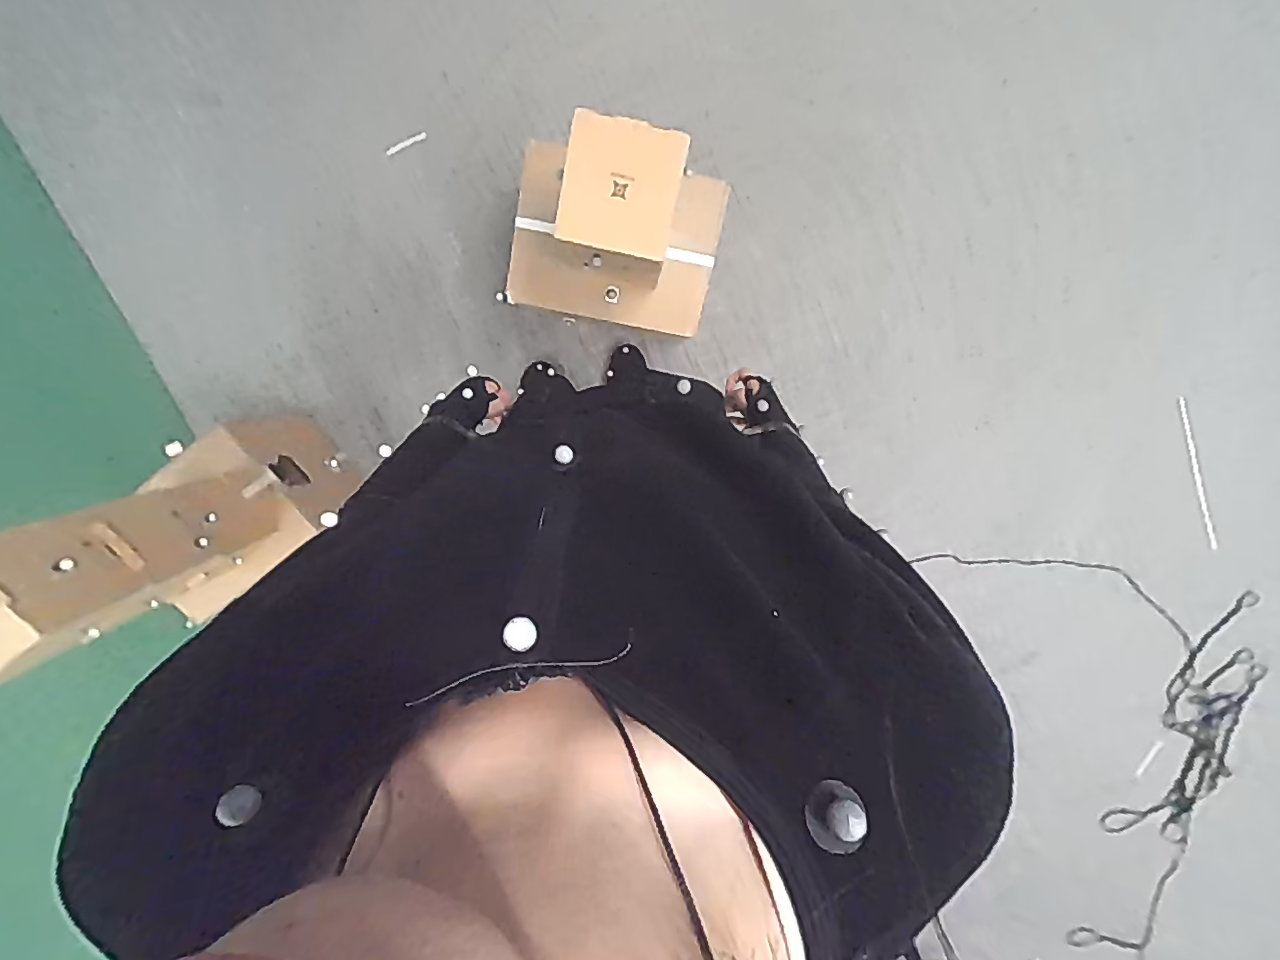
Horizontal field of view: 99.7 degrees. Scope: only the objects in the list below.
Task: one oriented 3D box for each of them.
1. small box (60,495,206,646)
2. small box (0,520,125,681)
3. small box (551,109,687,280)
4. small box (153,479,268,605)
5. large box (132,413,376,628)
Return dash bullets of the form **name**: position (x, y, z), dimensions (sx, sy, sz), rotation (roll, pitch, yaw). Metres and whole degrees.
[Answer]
- **small box**: position (-0.931, 0.149, 0.960), dimensions (0.179, 0.176, 0.168), rotation (-36, 100, 7)
- **small box**: position (-0.934, 0.183, 0.799), dimensions (0.179, 0.176, 0.168), rotation (-36, 100, 6)
- **small box**: position (-0.030, -0.425, 0.838), dimensions (0.168, 0.176, 0.179), rotation (12, 100, -3)
- **small box**: position (-0.933, 0.119, 1.121), dimensions (0.168, 0.176, 0.179), rotation (-35, 100, 7)
- **large box**: position (-0.975, 0.082, 1.362), dimensions (0.408, 0.320, 0.320), rotation (-36, 99, 8)
